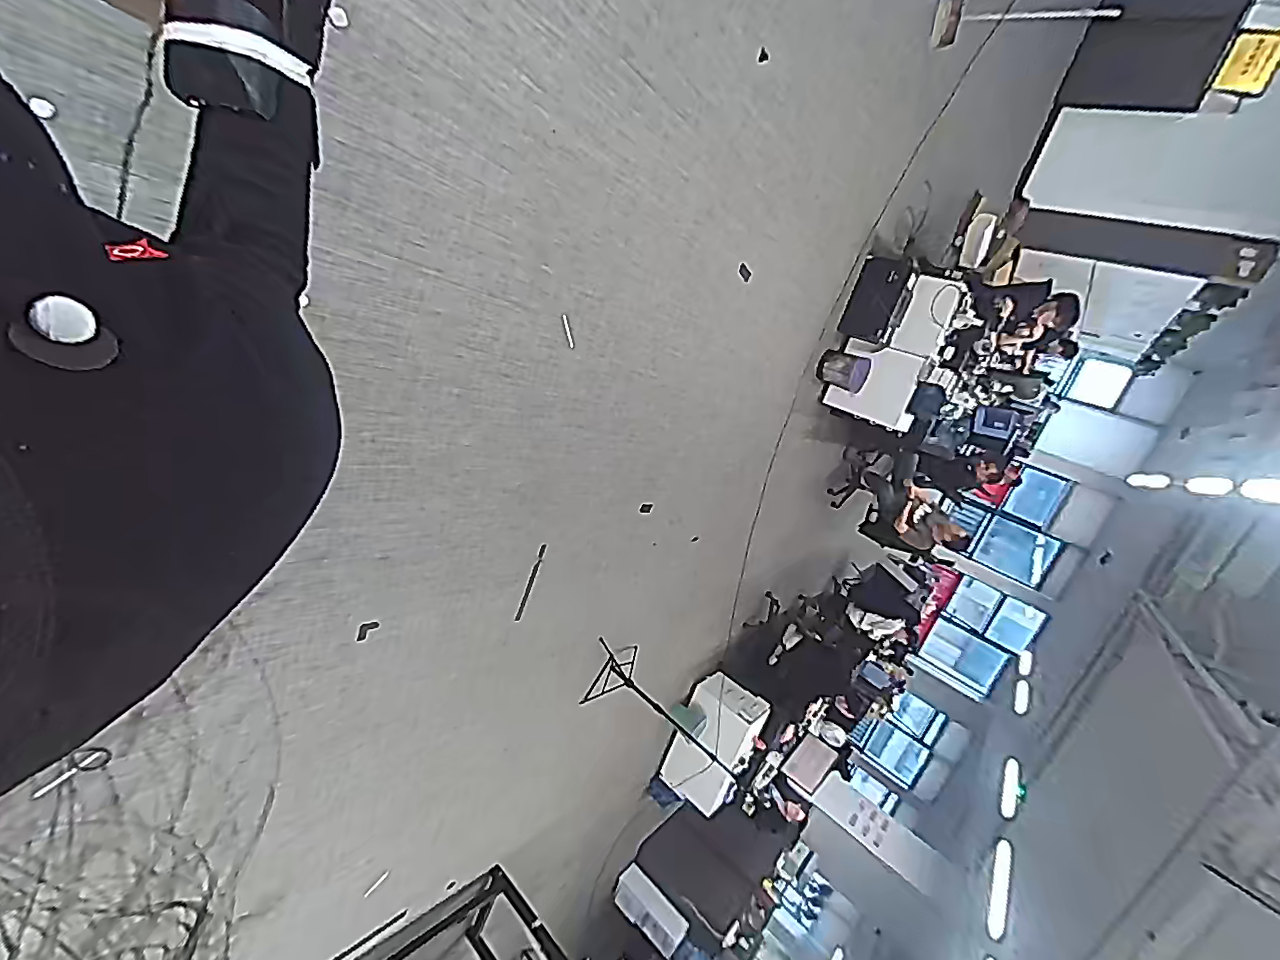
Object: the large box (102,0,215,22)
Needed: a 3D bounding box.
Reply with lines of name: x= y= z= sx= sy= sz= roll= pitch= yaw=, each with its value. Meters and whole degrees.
large box: x=-0.461 y=-0.529 z=0.266 sx=0.408 sy=0.320 sz=0.320 roll=6 pitch=115 yaw=-50
